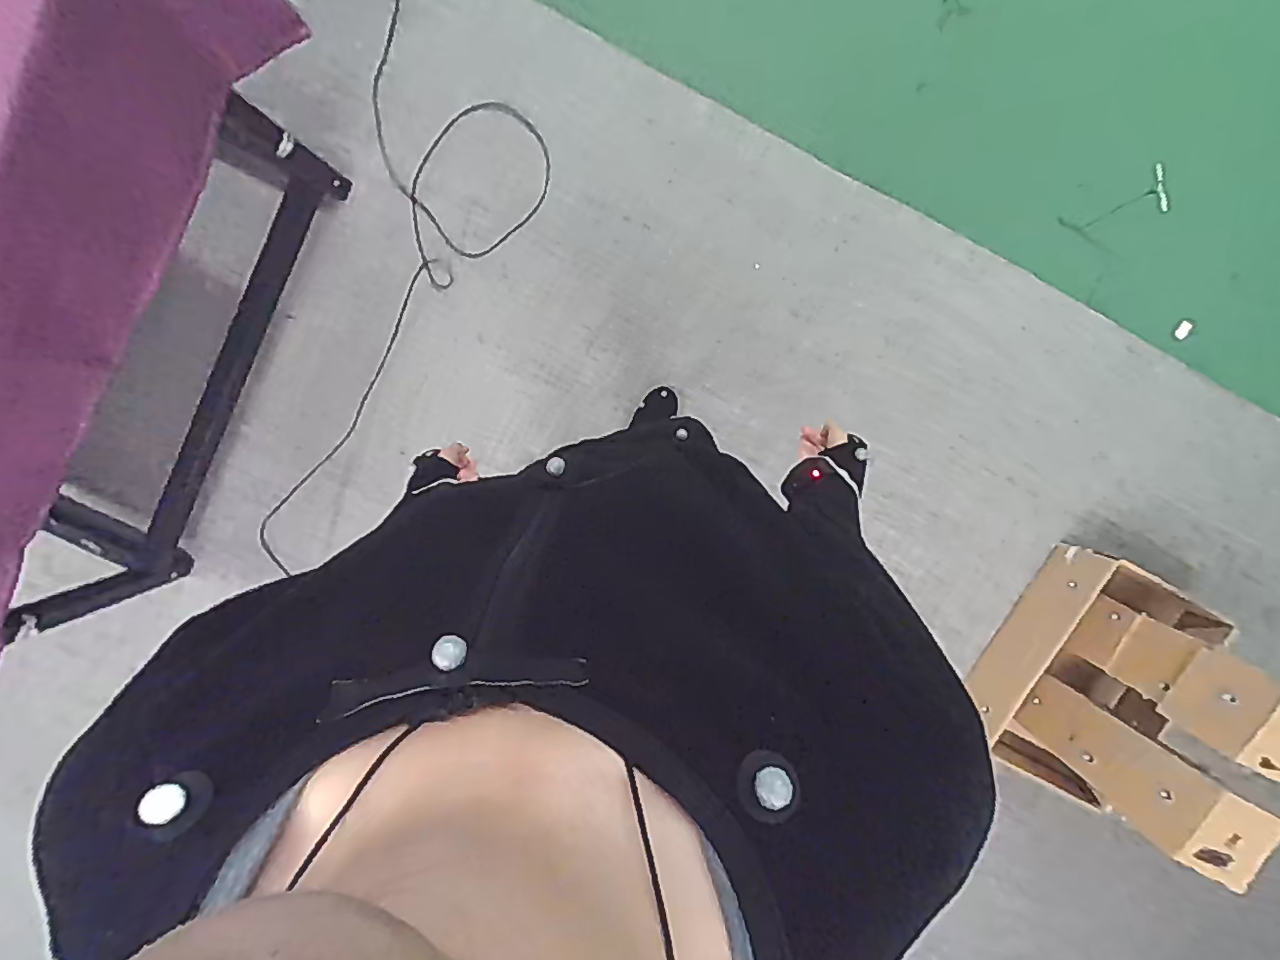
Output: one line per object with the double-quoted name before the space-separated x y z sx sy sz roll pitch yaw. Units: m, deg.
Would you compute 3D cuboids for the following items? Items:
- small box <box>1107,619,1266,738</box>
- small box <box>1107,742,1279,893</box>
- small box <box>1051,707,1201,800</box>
"small box" 1.281 0.461 1.284 0.168 0.176 0.179 26 98 -3
"small box" 1.158 0.707 1.149 0.168 0.176 0.179 29 95 -4
"small box" 1.164 0.684 1.311 0.179 0.176 0.168 29 96 -4
